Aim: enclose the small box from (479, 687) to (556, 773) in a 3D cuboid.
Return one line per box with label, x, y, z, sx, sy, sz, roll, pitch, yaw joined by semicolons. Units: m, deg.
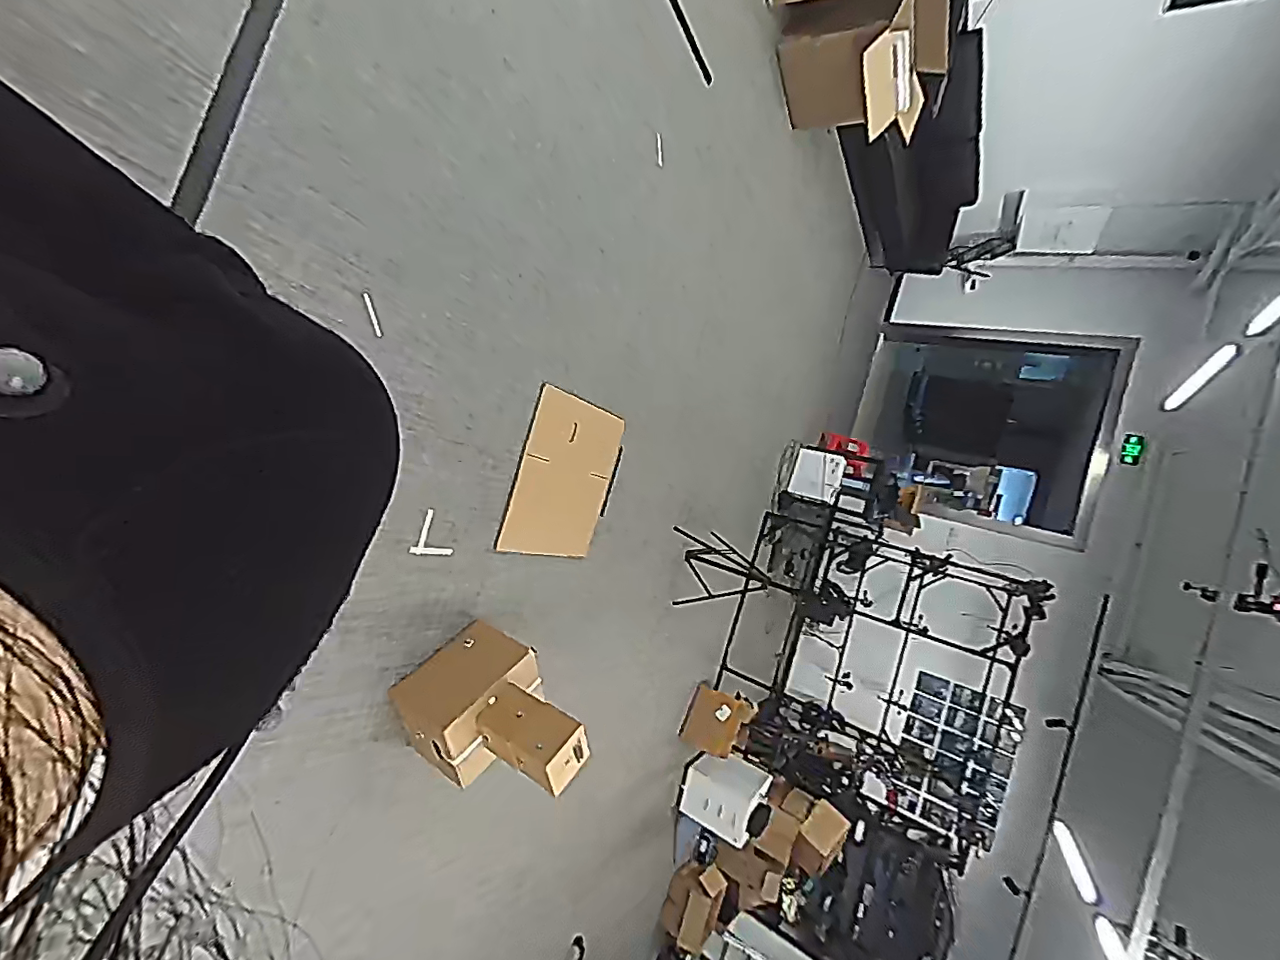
small box;-0.420;0.850;1.855;0.179;0.176;0.168;-39;132;-42
